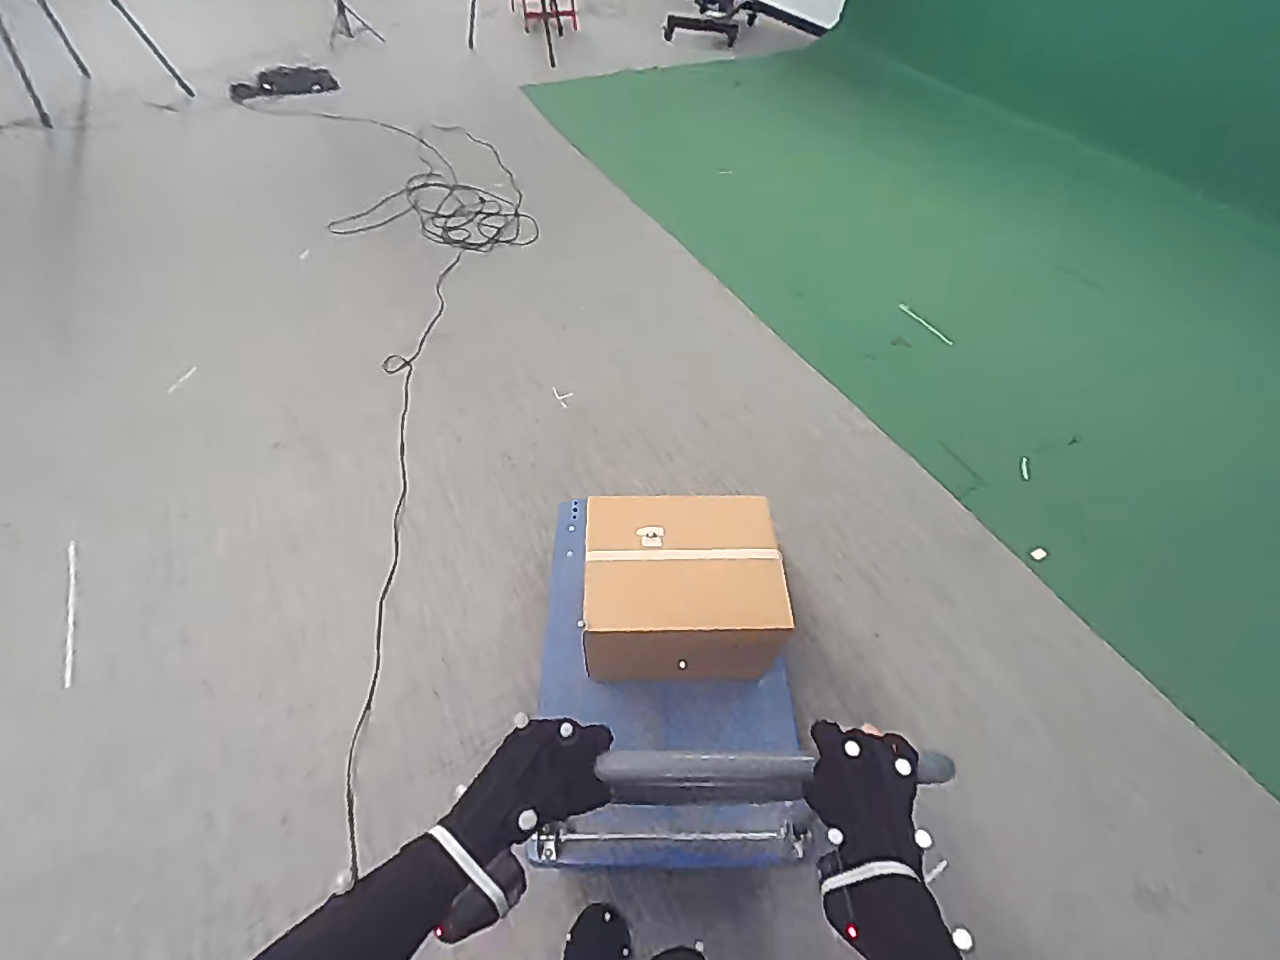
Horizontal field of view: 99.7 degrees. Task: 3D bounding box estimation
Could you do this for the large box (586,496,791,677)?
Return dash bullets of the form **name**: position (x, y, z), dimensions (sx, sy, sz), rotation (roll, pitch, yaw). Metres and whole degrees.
- **large box**: position (0.087, 0.251, 1.243), dimensions (0.408, 0.320, 0.320), rotation (-1, 53, -2)
